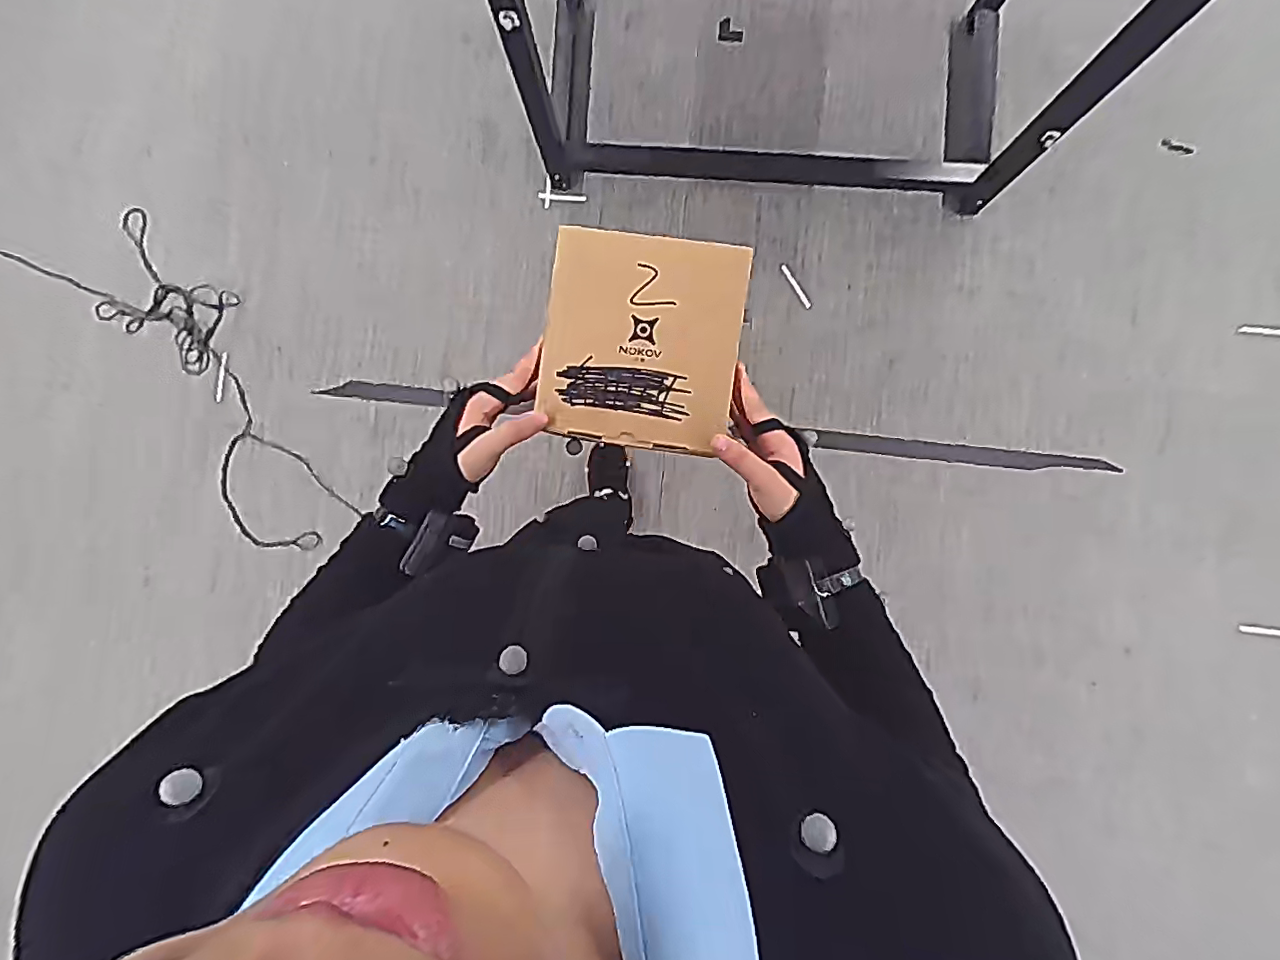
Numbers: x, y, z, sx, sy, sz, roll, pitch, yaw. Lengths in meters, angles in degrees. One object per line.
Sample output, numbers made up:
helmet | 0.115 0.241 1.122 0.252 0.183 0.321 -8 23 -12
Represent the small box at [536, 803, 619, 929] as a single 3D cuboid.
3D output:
small box | -0.146 0.937 1.327 0.168 0.176 0.179 10 87 1
